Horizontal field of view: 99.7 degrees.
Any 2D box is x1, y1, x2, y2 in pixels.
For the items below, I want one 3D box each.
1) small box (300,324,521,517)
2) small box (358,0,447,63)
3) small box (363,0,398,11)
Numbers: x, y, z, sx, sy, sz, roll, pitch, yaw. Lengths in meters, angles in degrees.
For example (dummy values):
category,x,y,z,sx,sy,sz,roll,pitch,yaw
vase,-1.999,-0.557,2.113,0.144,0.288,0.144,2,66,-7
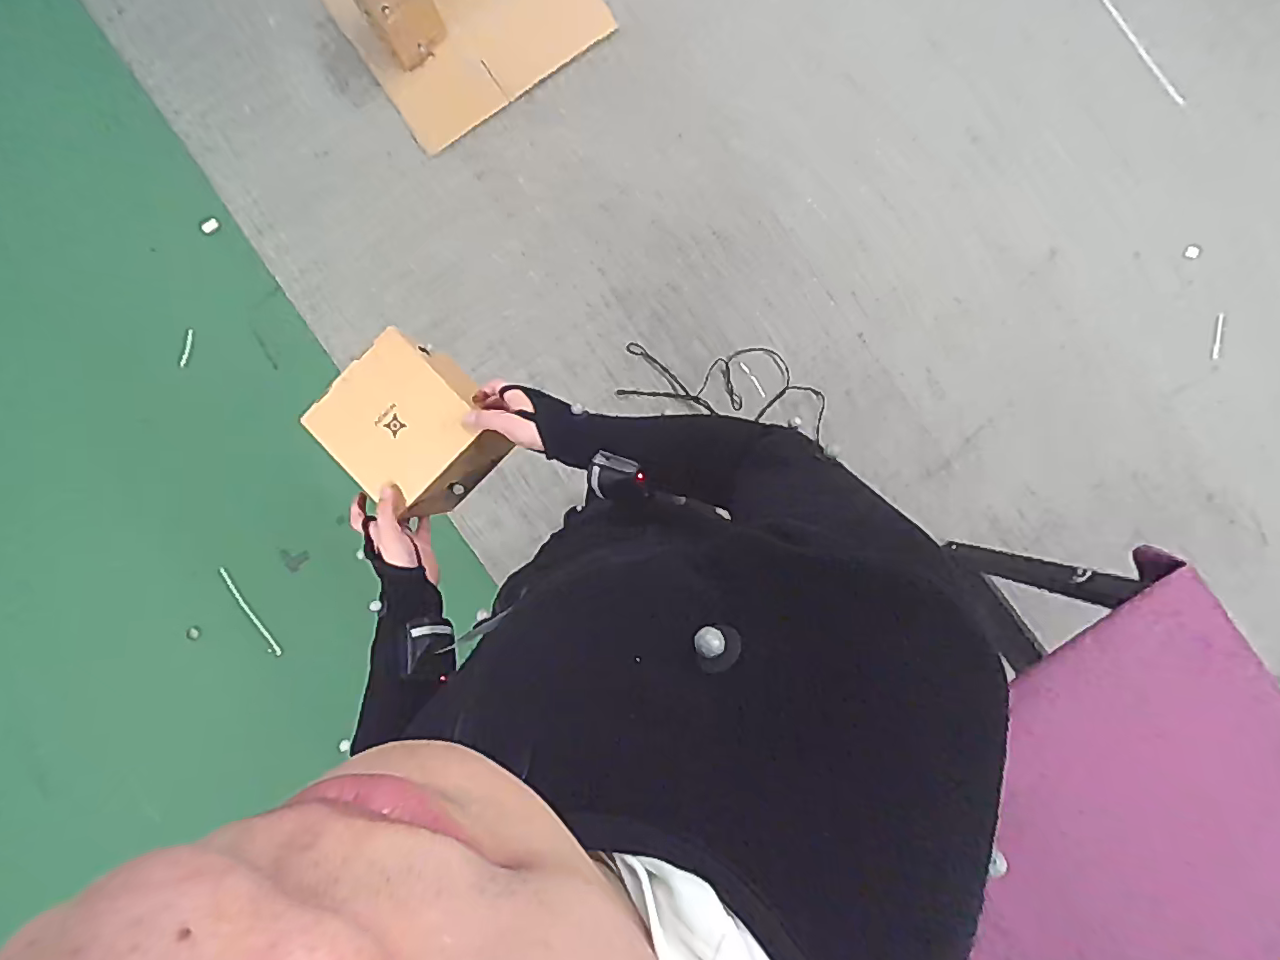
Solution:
category,x,y,z,sx,sy,sz,roll,pitch,yaw
small box,-0.290,-0.074,0.725,0.168,0.176,0.179,-44,87,3
small box,-0.681,-1.341,1.518,0.168,0.176,0.179,-42,91,1
small box,-0.683,-1.338,1.354,0.168,0.176,0.179,-39,90,1
